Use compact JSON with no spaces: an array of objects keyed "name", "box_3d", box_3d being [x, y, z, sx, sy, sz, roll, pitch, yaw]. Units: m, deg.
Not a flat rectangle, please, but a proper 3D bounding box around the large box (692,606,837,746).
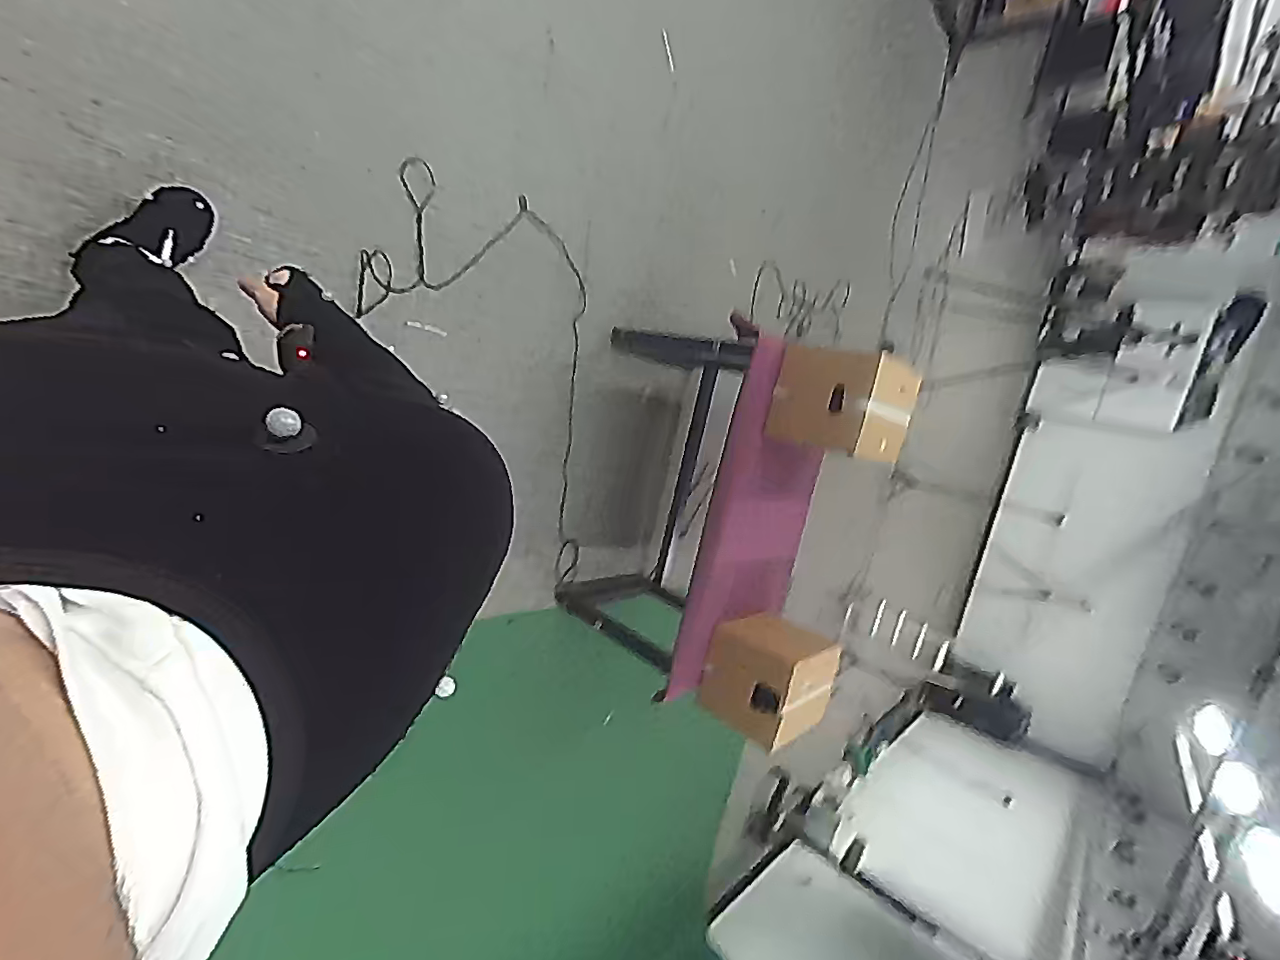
[{"name":"large box","box_3d":[0.450,0.677,1.950,0.408,0.320,0.320,5,100,-48]}]
